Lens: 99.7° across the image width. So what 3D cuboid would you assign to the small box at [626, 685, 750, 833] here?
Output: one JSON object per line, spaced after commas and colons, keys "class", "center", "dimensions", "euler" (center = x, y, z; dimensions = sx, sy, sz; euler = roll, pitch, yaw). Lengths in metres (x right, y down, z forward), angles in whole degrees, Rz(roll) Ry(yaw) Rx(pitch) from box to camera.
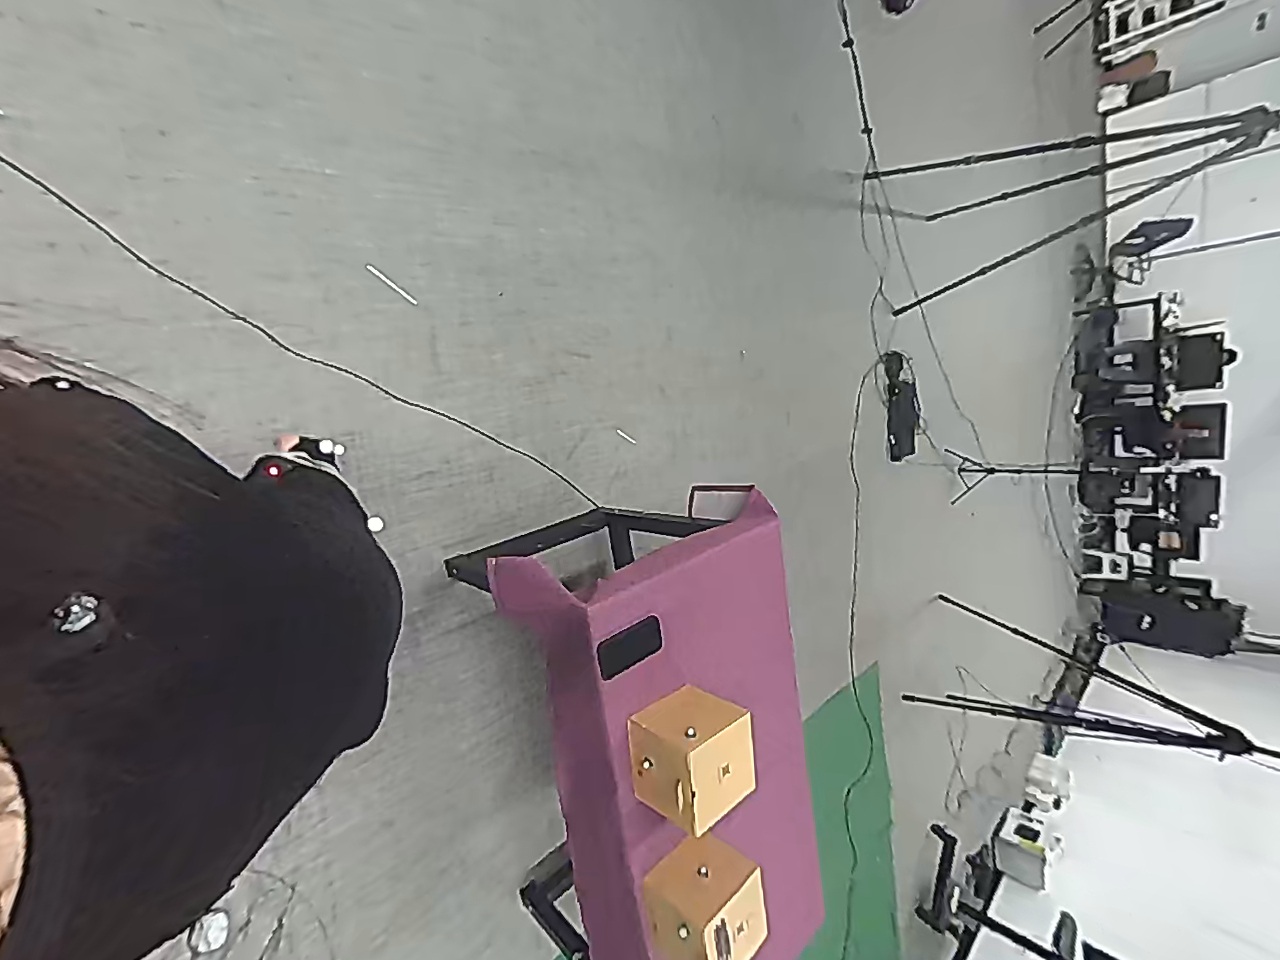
{"class": "small box", "center": [0.094, 0.533, 1.066], "dimensions": [0.179, 0.176, 0.168], "euler": [-12, 100, -40]}
